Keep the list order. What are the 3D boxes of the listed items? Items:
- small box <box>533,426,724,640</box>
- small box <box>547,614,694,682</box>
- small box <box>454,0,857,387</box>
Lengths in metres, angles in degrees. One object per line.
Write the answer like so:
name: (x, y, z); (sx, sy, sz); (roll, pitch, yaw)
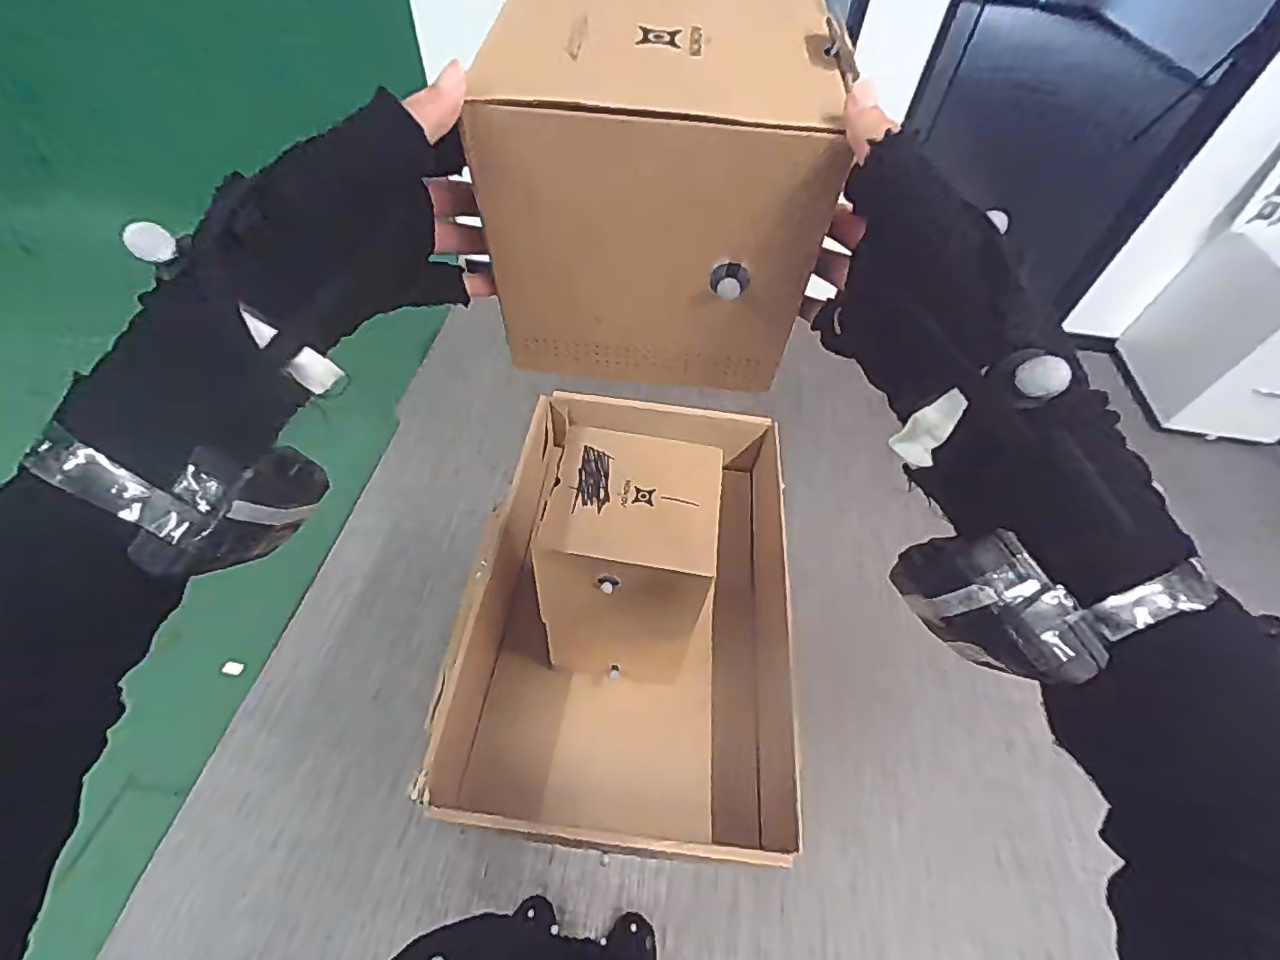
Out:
small box: (-0.011, 0.065, 0.615); (0.179, 0.176, 0.168); (10, 51, 2)
small box: (-0.023, 0.165, 0.746); (0.179, 0.176, 0.168); (8, 50, 0)
small box: (0.010, -0.175, 0.339); (0.179, 0.176, 0.168); (4, 57, 1)
